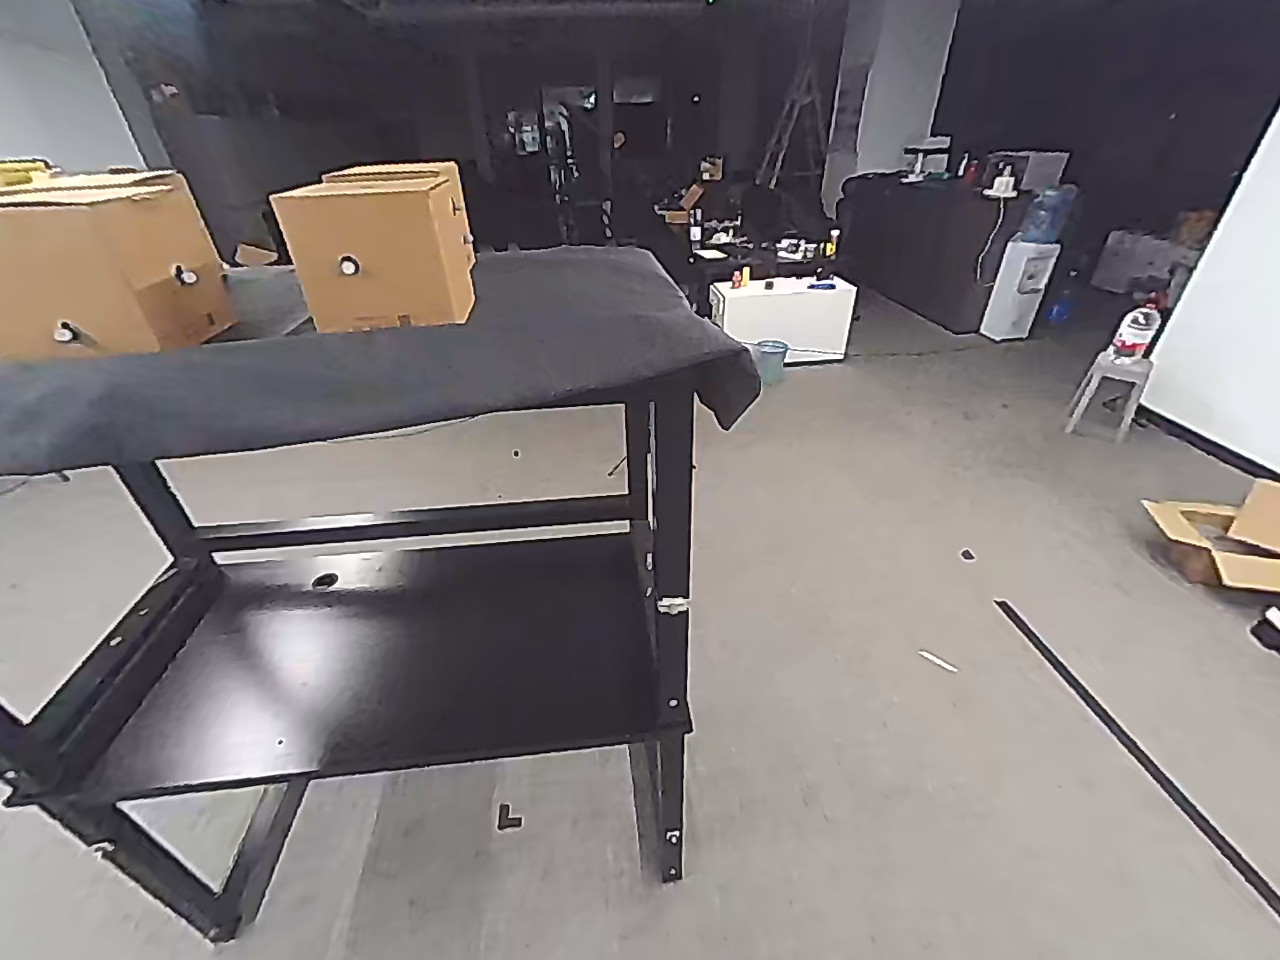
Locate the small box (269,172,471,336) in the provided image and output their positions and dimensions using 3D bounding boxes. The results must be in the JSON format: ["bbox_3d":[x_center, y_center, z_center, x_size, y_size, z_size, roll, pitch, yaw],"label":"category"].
[{"bbox_3d":[-0.321,-0.288,0.690,0.168,0.176,0.179,-6,33,-6],"label":"small box"}]

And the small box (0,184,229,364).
[{"bbox_3d":[-0.638,-0.244,0.636,0.179,0.176,0.168,-5,32,-6],"label":"small box"}]

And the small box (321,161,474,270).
[{"bbox_3d":[-0.397,-0.440,0.922,0.179,0.176,0.168,-5,34,-5],"label":"small box"}]

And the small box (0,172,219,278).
[{"bbox_3d":[-0.825,-0.390,0.868,0.168,0.176,0.179,-9,34,-10],"label":"small box"}]
